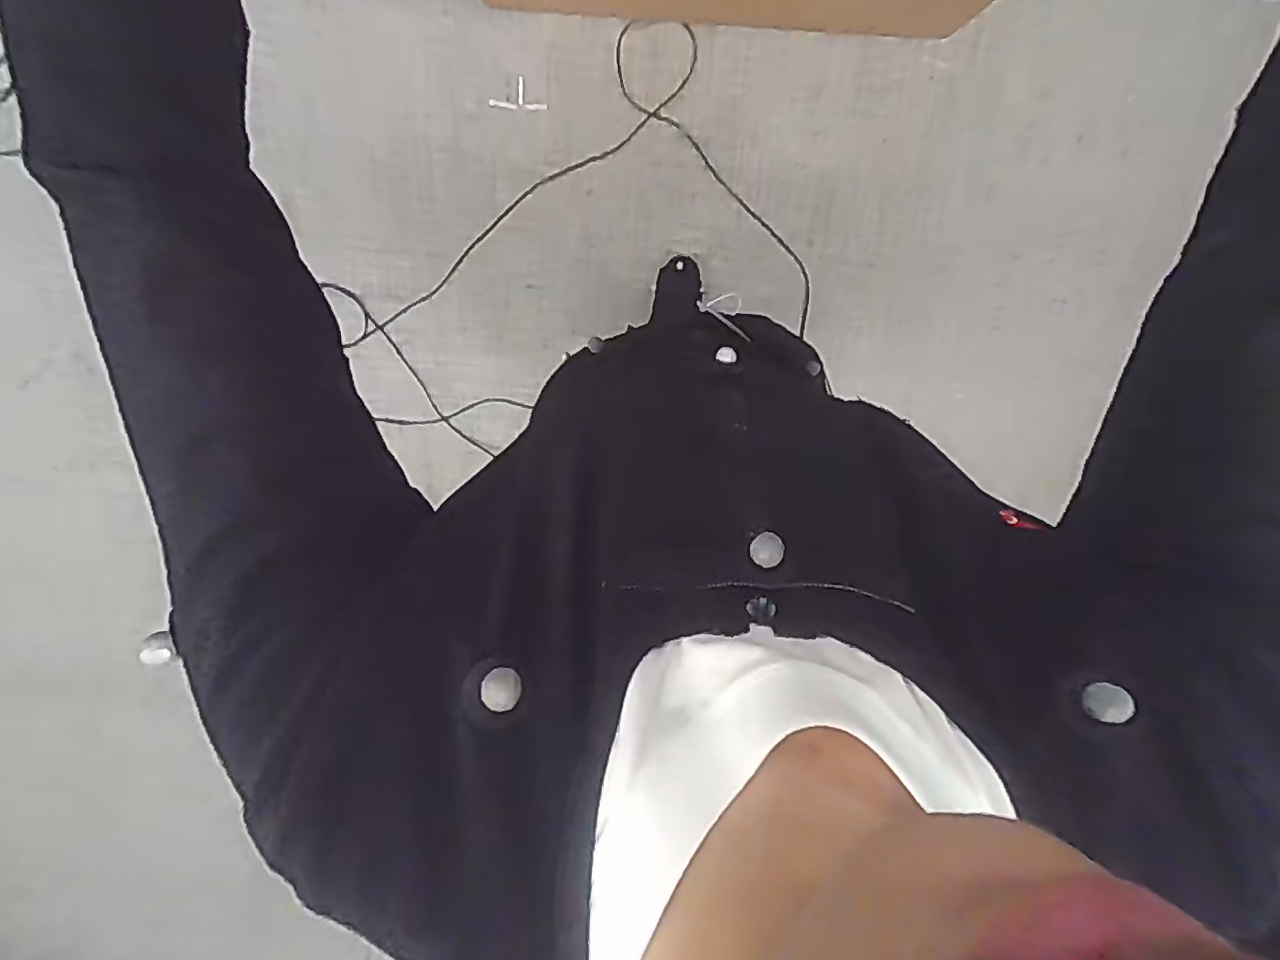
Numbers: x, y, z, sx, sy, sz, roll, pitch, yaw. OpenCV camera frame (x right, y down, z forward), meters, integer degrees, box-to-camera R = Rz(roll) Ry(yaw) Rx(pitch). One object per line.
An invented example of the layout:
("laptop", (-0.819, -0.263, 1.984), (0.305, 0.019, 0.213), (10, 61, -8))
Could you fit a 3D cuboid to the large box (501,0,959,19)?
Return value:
("large box", (0.077, -0.500, 0.279), (0.408, 0.320, 0.320), (1, 109, -3))
